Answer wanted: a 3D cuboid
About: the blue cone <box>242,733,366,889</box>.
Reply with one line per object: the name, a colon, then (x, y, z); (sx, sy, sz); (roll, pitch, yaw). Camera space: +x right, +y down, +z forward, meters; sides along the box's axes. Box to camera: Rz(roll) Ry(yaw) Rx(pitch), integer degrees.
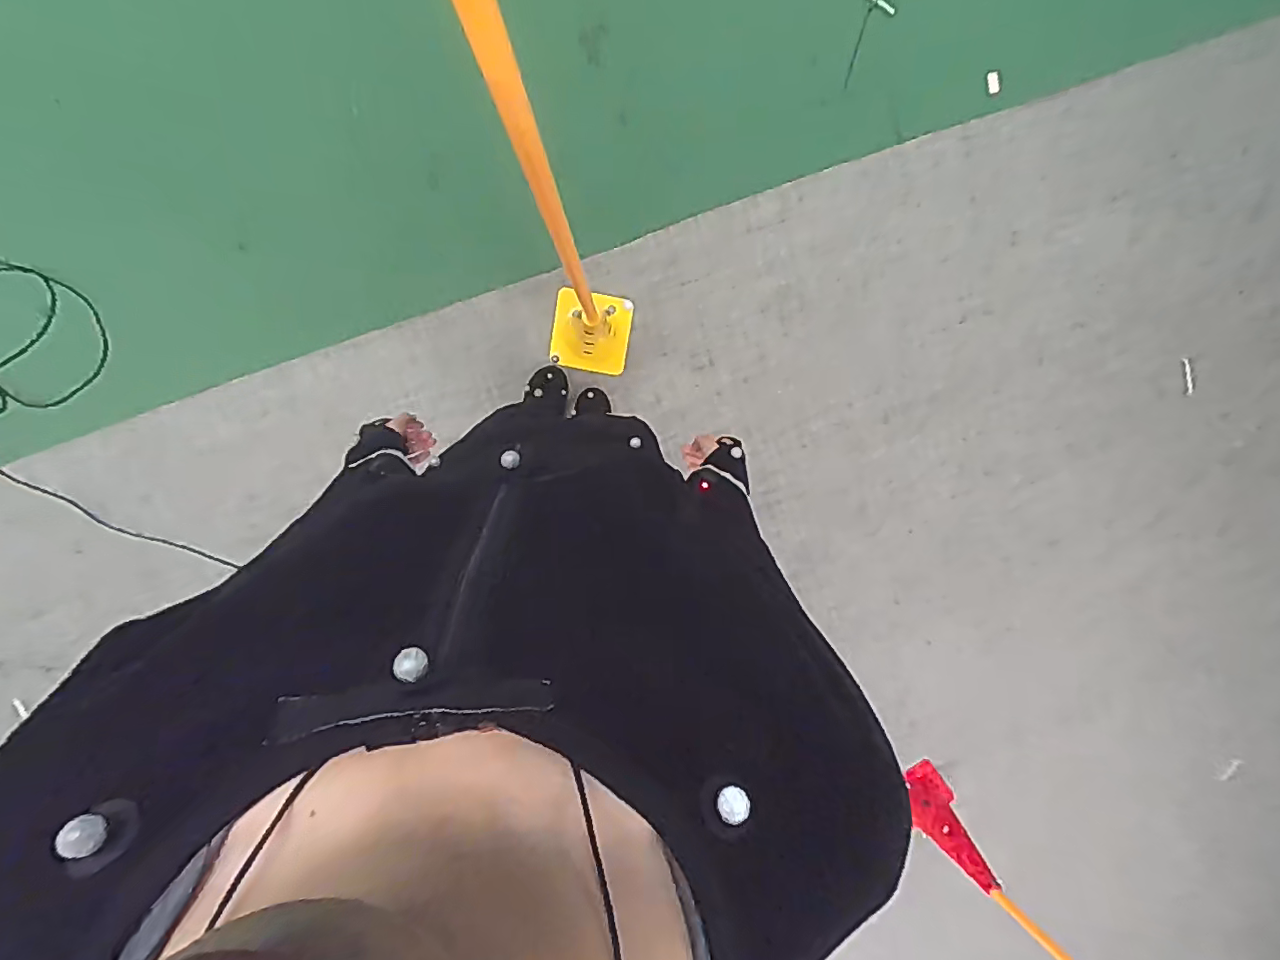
blue cone: (-0.881, 0.861, 1.389); (0.192, 0.380, 0.193); (24, 99, -11)
